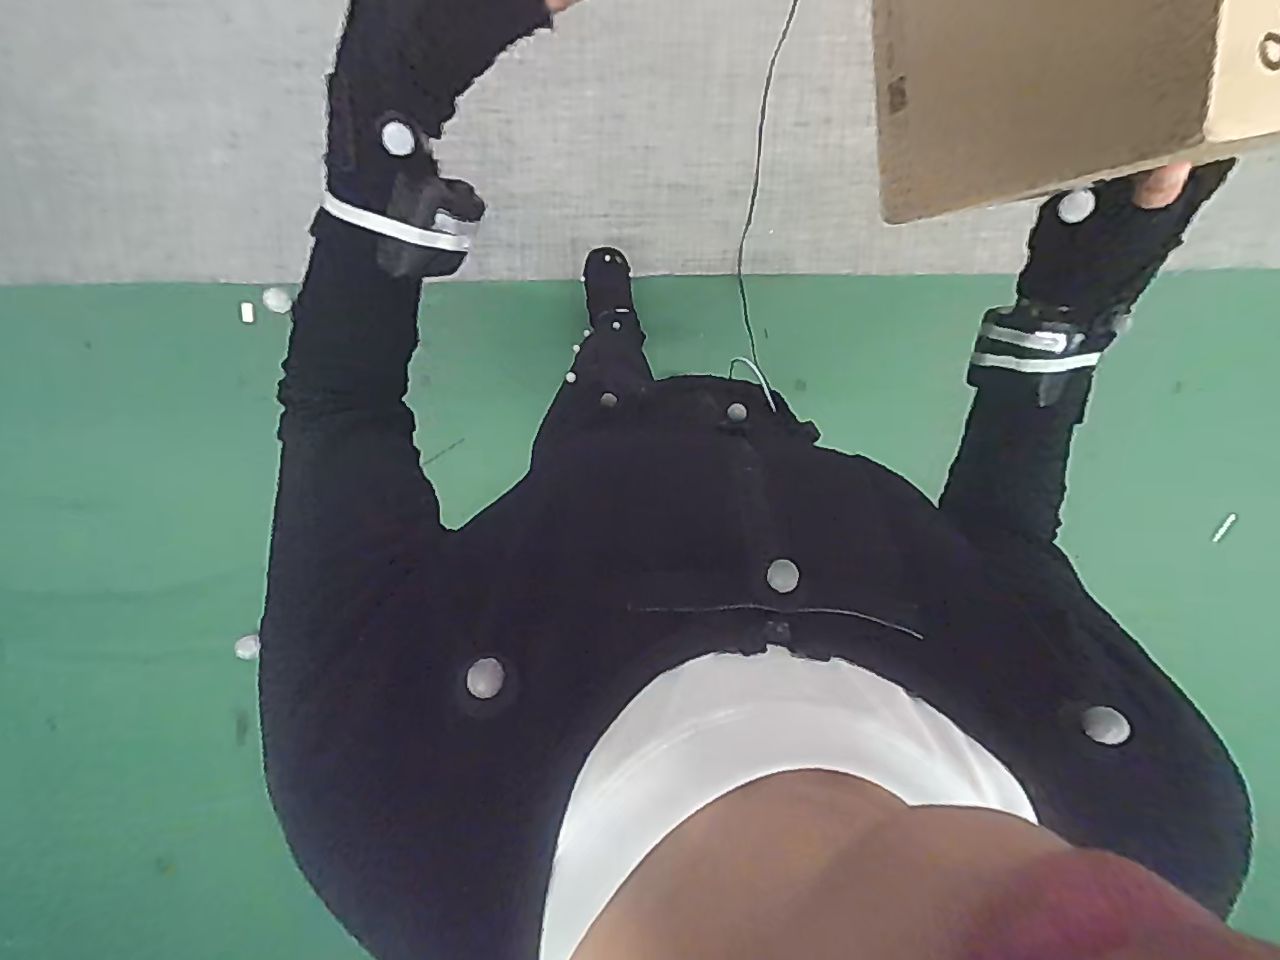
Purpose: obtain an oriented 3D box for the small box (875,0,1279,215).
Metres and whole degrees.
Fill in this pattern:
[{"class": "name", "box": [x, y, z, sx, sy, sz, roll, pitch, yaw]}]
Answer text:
[{"class": "small box", "box": [0.223, -0.219, 0.219, 0.179, 0.176, 0.168, -12, 109, -6]}]
